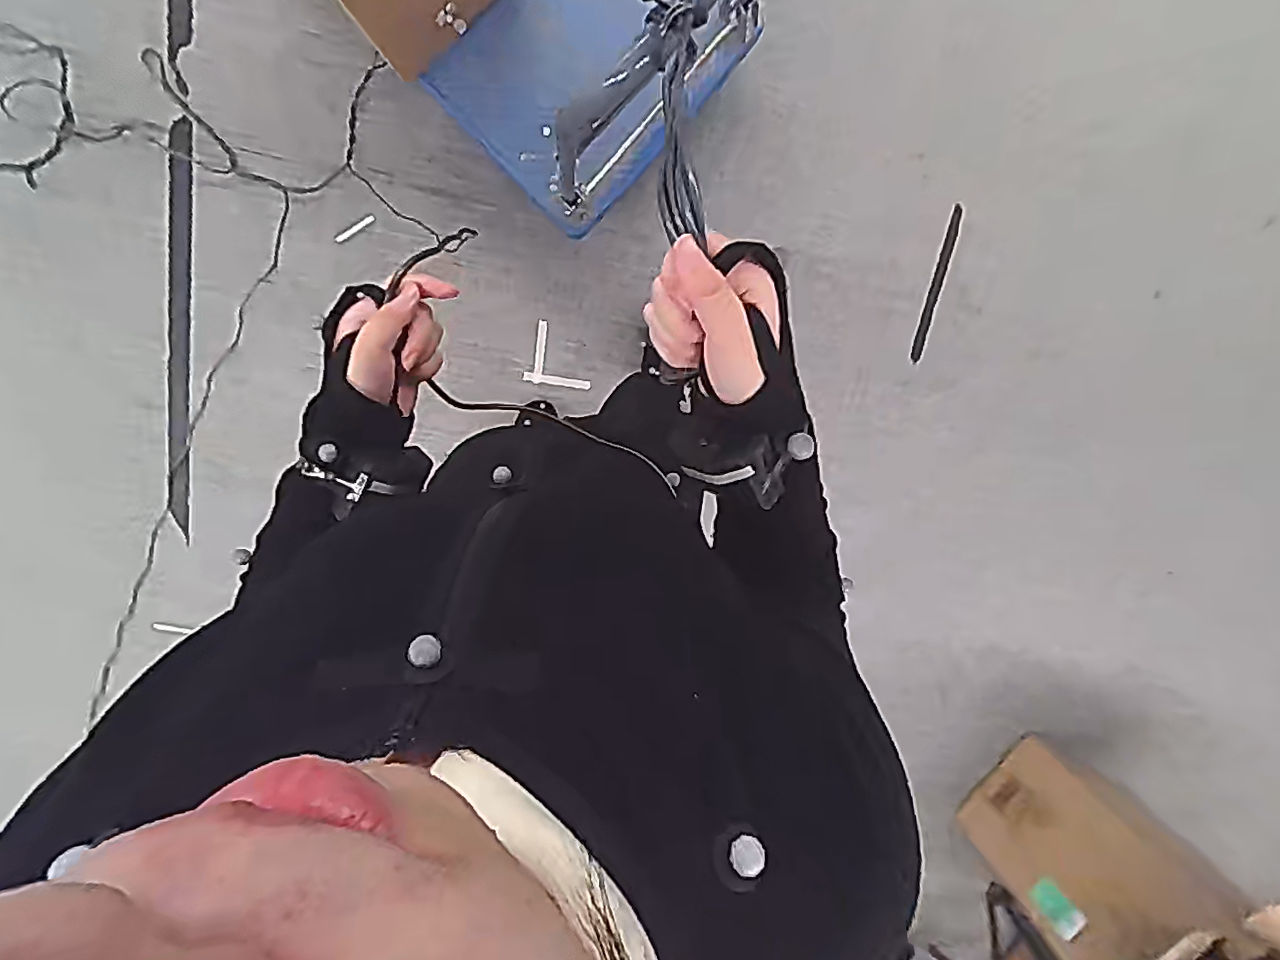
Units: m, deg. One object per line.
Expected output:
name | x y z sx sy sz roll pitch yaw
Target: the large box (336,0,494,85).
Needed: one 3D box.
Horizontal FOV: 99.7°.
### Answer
large box | -0.453 -0.964 0.850 0.320 0.320 0.408 -40 105 6
